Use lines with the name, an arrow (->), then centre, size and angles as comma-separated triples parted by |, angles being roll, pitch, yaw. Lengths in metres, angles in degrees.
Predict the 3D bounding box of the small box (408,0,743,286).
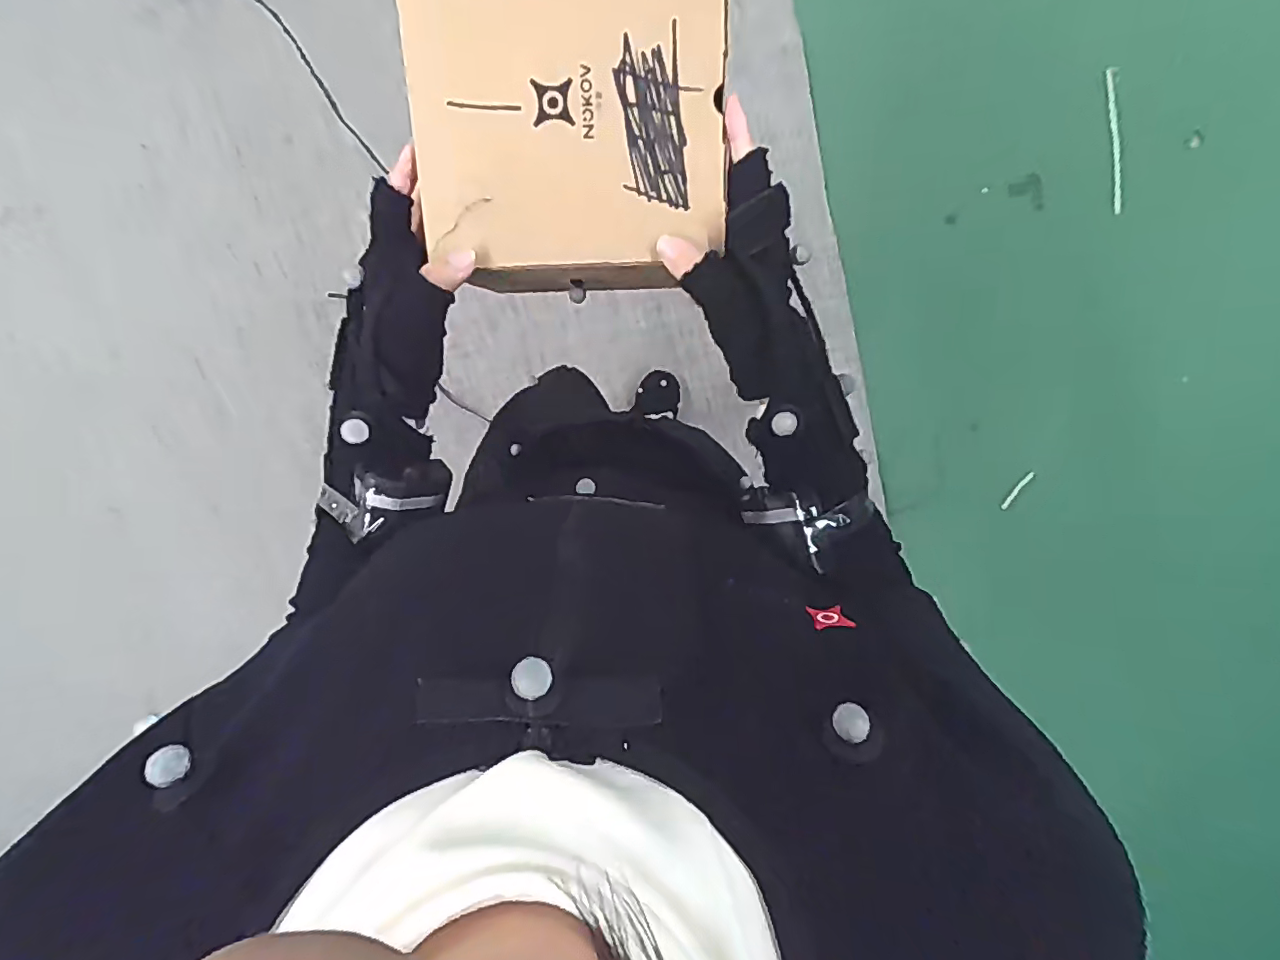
small box -> -0.035, -0.233, 0.376 | 0.179, 0.176, 0.168 | -6, 105, 0
